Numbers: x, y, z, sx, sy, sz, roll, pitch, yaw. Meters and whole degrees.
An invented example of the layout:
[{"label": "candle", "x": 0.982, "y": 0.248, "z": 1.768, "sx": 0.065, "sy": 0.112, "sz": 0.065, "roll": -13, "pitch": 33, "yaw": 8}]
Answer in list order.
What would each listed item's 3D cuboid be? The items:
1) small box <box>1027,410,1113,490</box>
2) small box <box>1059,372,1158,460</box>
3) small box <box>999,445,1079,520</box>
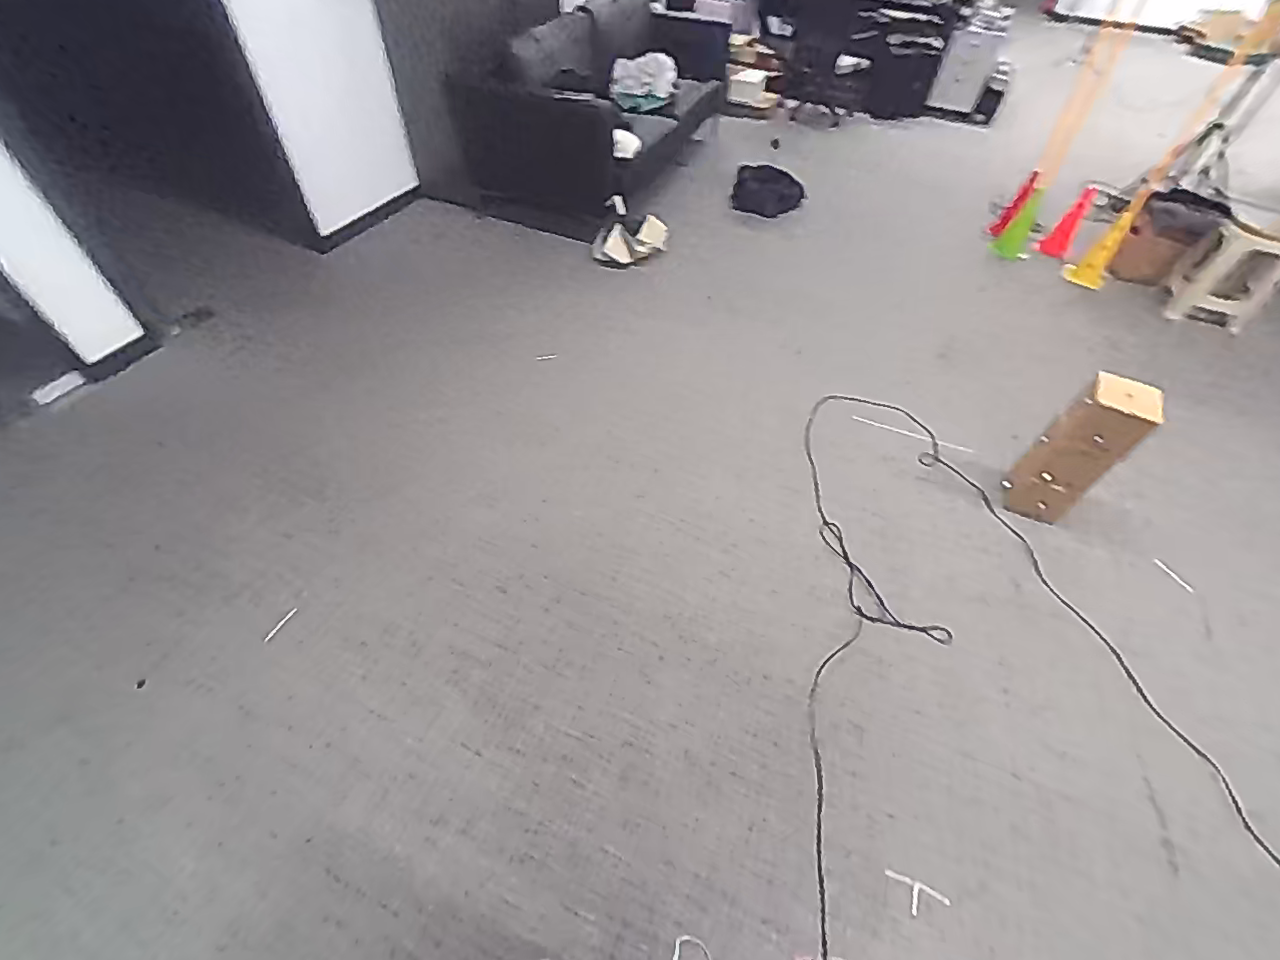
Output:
[{"label": "small box", "x": 1.411, "y": -0.094, "z": 1.780, "sx": 0.168, "sy": 0.176, "sz": 0.179, "roll": 21, "pitch": 51, "yaw": 14}, {"label": "small box", "x": 1.425, "y": -0.194, "z": 1.652, "sx": 0.168, "sy": 0.176, "sz": 0.179, "roll": 26, "pitch": 54, "yaw": 17}, {"label": "small box", "x": 1.398, "y": 0.015, "z": 1.906, "sx": 0.168, "sy": 0.176, "sz": 0.179, "roll": 20, "pitch": 53, "yaw": 10}]
